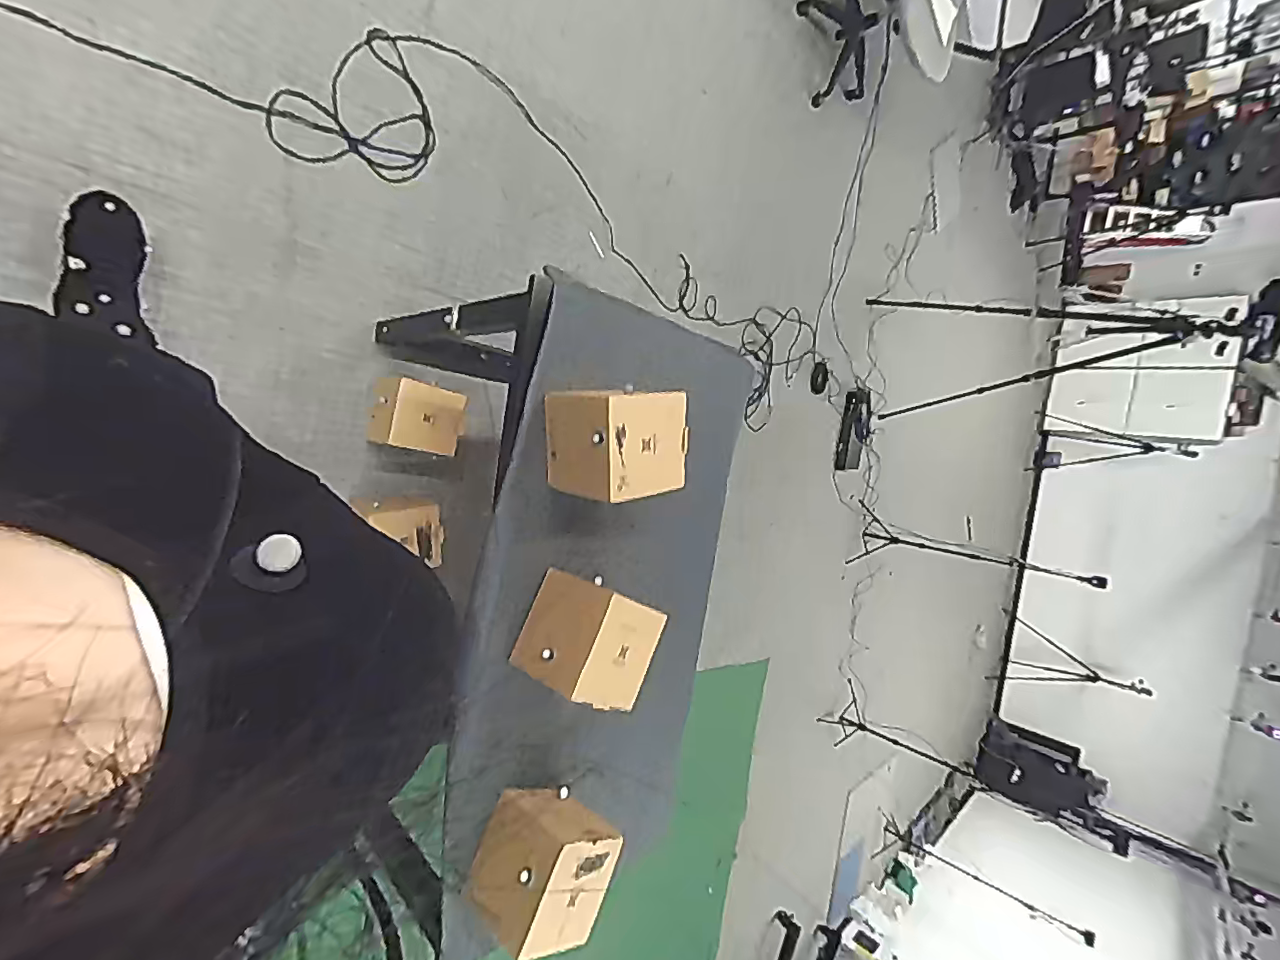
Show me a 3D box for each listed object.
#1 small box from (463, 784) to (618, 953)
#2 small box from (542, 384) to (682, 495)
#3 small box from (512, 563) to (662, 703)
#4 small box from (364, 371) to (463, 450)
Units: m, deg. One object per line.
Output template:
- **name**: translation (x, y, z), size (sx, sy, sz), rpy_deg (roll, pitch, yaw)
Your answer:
- **small box**: translation (-0.174, 0.653, 0.937), size (0.168, 0.176, 0.179), rpy_deg (37, 70, -46)
- **small box**: translation (-0.048, -0.079, 0.927), size (0.179, 0.176, 0.168), rpy_deg (-11, 106, -44)
- **small box**: translation (-0.097, 0.264, 0.947), size (0.168, 0.176, 0.179), rpy_deg (36, 71, -47)
- **small box**: translation (-0.593, -0.177, 1.406), size (0.179, 0.176, 0.168), rpy_deg (12, 89, -47)
